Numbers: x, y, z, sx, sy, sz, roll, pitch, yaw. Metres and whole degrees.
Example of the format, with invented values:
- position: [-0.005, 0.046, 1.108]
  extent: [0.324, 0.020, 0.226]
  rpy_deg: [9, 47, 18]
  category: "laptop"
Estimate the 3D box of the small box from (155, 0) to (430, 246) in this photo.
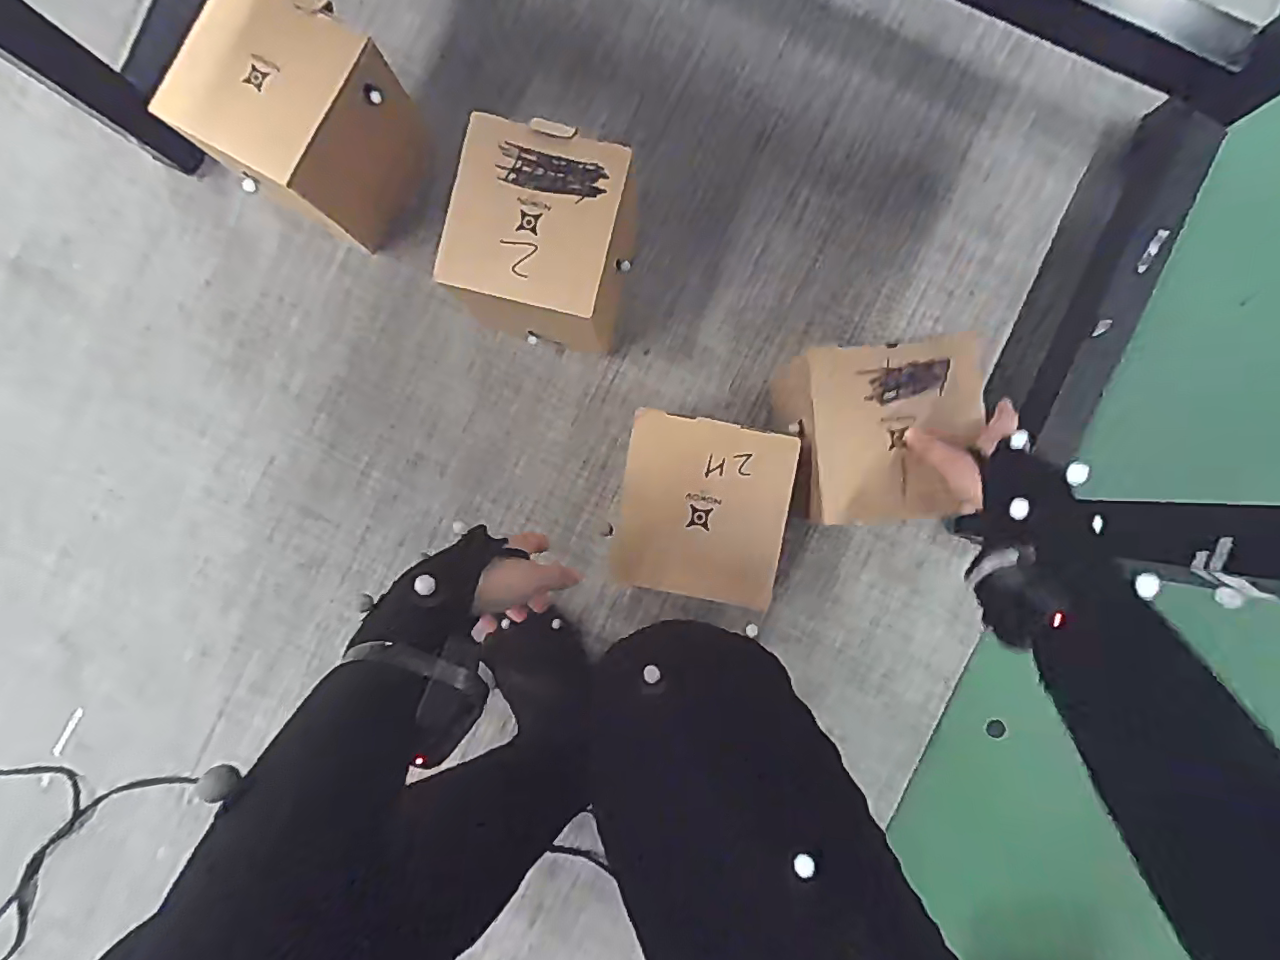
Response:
- position: [-0.373, -0.407, 0.618]
  extent: [0.168, 0.176, 0.179]
  rpy_deg: [30, 90, 2]
  category: "small box"

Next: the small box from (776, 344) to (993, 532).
- position: [0.251, -0.039, 0.594]
  extent: [0.168, 0.176, 0.179]
  rpy_deg: [-3, 90, 1]
  category: "small box"
